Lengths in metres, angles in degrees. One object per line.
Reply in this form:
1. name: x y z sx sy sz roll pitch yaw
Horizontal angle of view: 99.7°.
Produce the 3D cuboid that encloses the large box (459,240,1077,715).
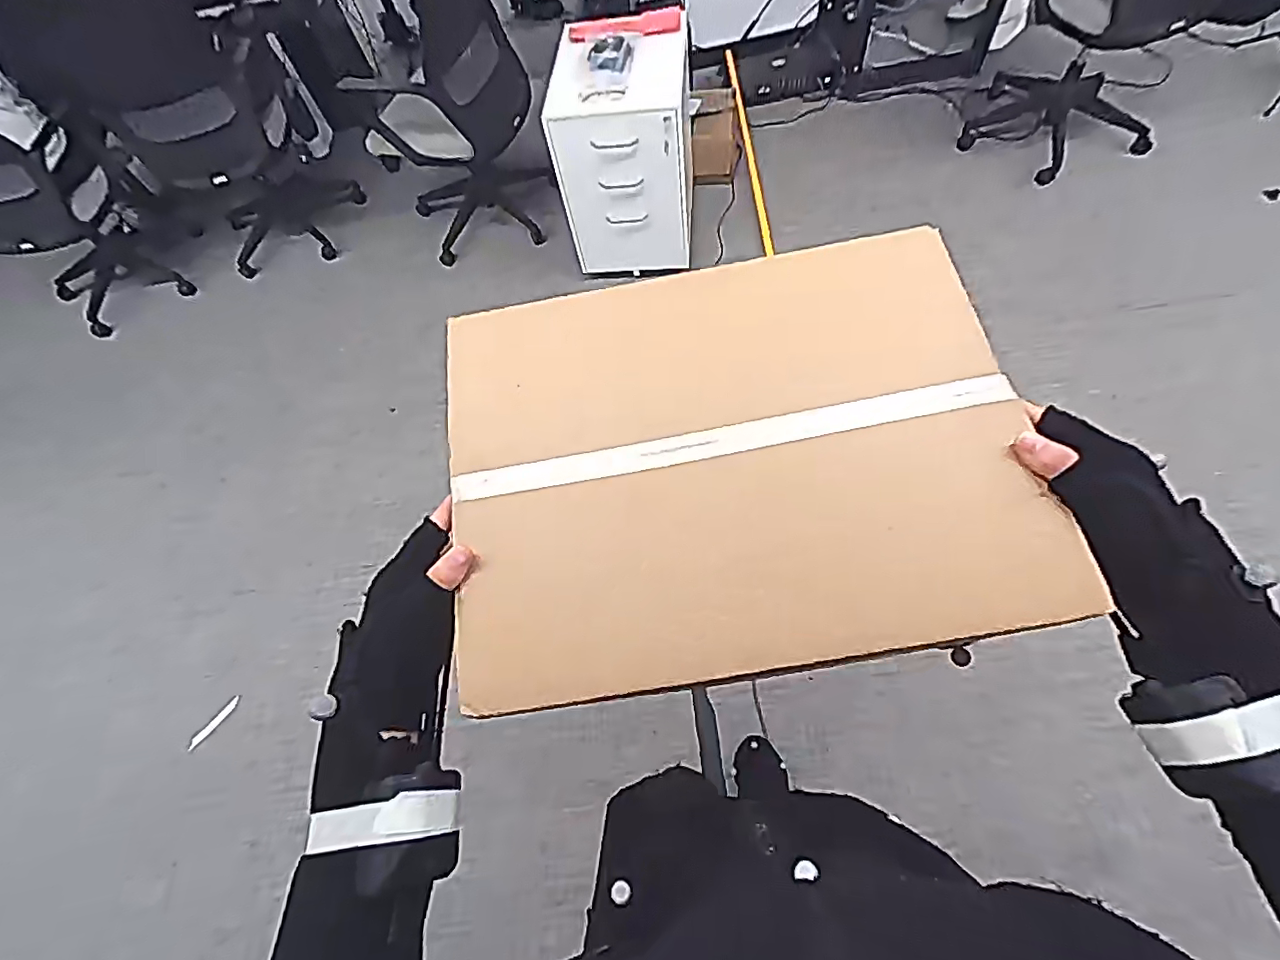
1. large box: 0.080 0.027 0.543 0.408 0.320 0.320 -11 68 3
